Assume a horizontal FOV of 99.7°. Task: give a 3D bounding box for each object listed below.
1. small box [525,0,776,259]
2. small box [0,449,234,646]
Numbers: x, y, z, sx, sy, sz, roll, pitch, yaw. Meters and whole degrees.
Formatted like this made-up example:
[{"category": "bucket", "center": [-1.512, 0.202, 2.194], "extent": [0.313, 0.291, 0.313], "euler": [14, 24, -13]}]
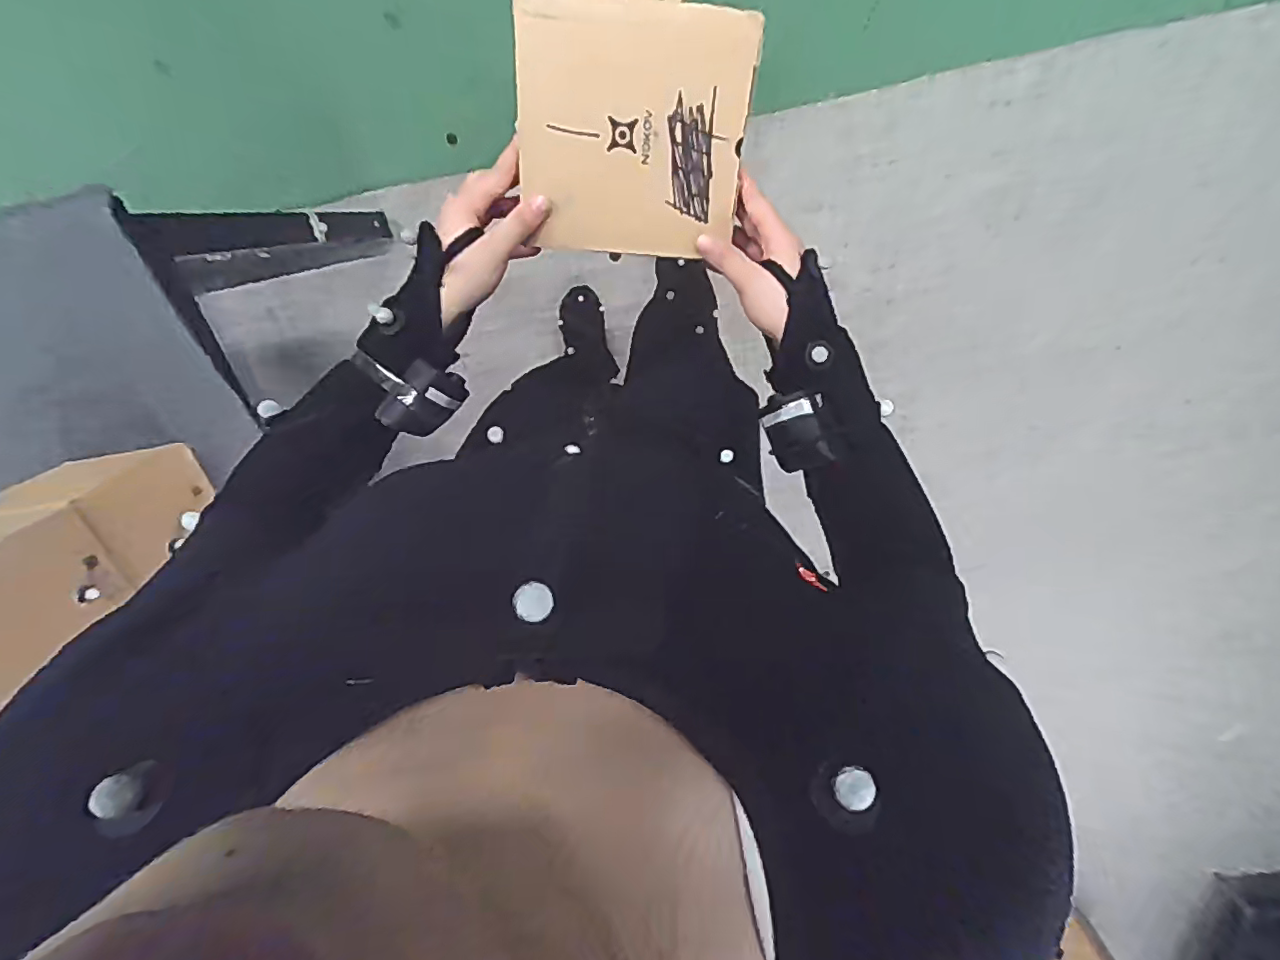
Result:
[{"category": "small box", "center": [-0.003, -0.300, 0.474], "extent": [0.179, 0.176, 0.168], "euler": [2, 120, -5]}, {"category": "small box", "center": [-0.653, 0.075, 0.666], "extent": [0.179, 0.176, 0.168], "euler": [-9, 117, 5]}]
